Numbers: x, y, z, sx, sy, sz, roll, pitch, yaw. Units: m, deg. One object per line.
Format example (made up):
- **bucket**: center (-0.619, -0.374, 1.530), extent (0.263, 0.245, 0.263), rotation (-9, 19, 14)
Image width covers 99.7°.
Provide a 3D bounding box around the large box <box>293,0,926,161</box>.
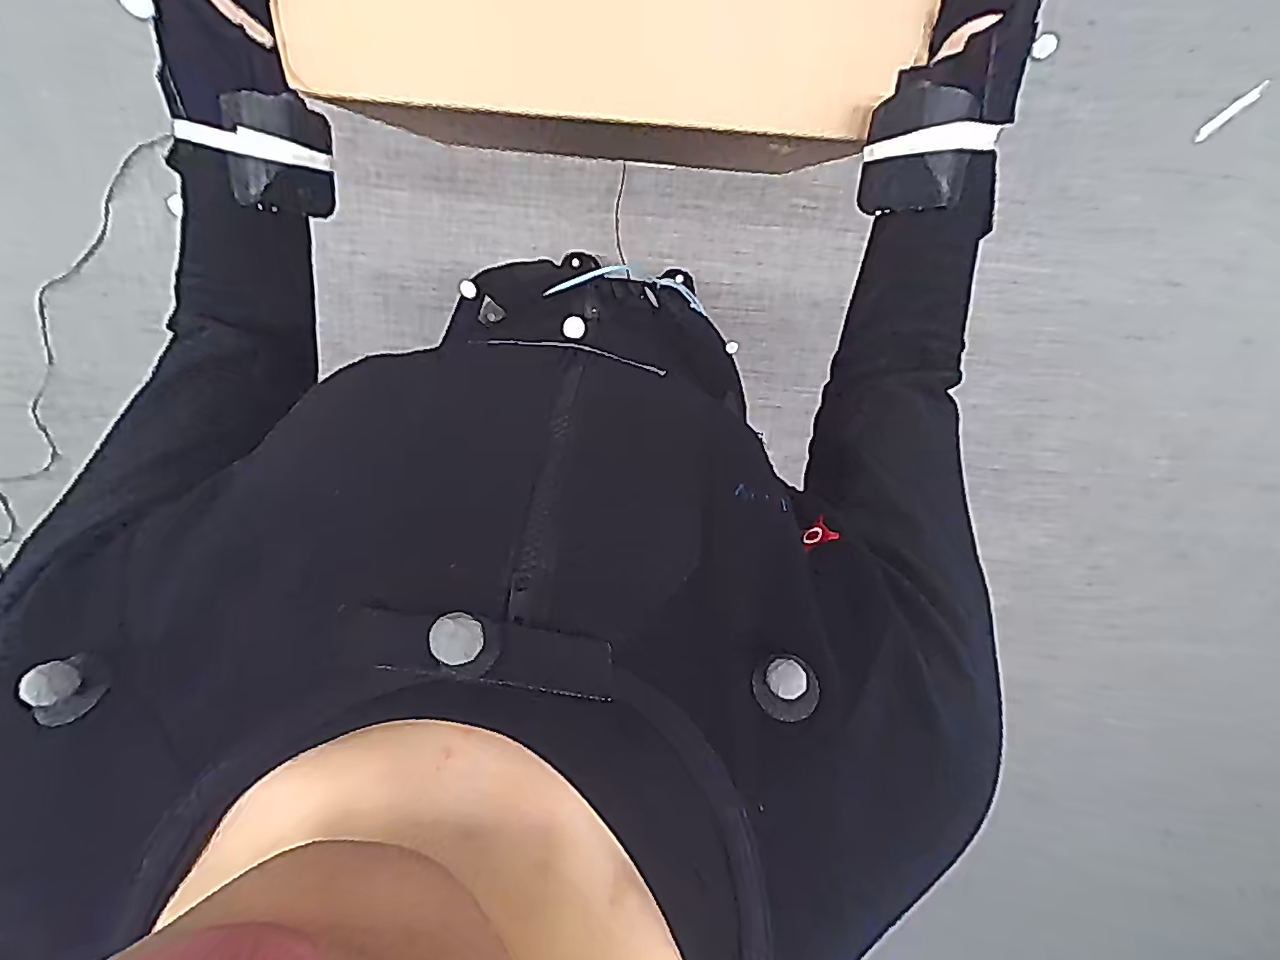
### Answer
- **large box**: center (-0.016, -0.453, 0.428), extent (0.408, 0.320, 0.320), rotation (3, 117, -3)
